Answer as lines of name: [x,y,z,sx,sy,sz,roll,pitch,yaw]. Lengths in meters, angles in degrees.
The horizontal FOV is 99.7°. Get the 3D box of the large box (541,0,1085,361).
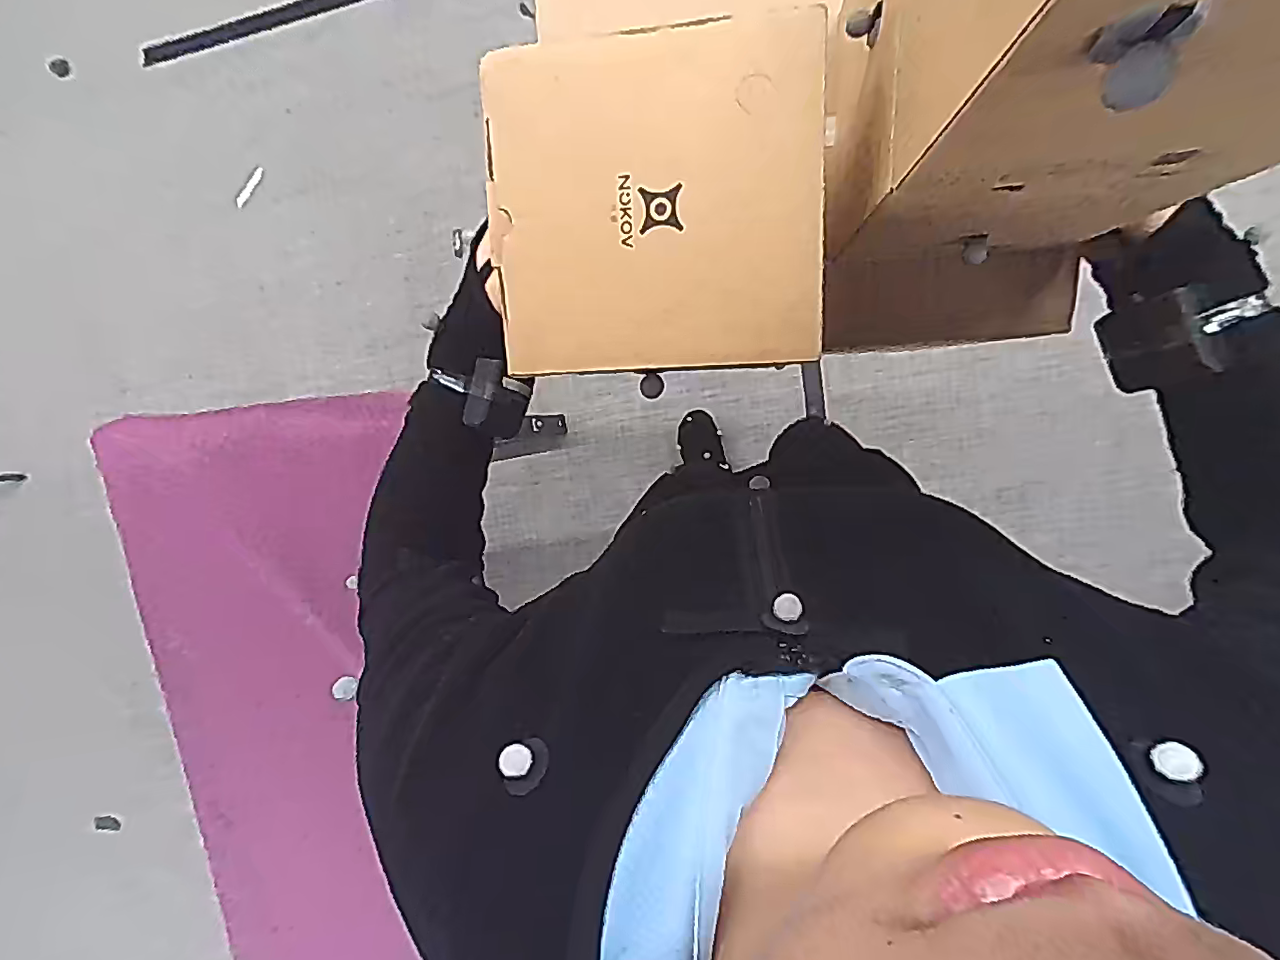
large box: [0.152,-0.293,0.556,0.408,0.320,0.320,-1,100,10]

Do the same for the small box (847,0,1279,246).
small box: [0.218,-0.245,0.301,0.168,0.176,0.179,0,101,11]
